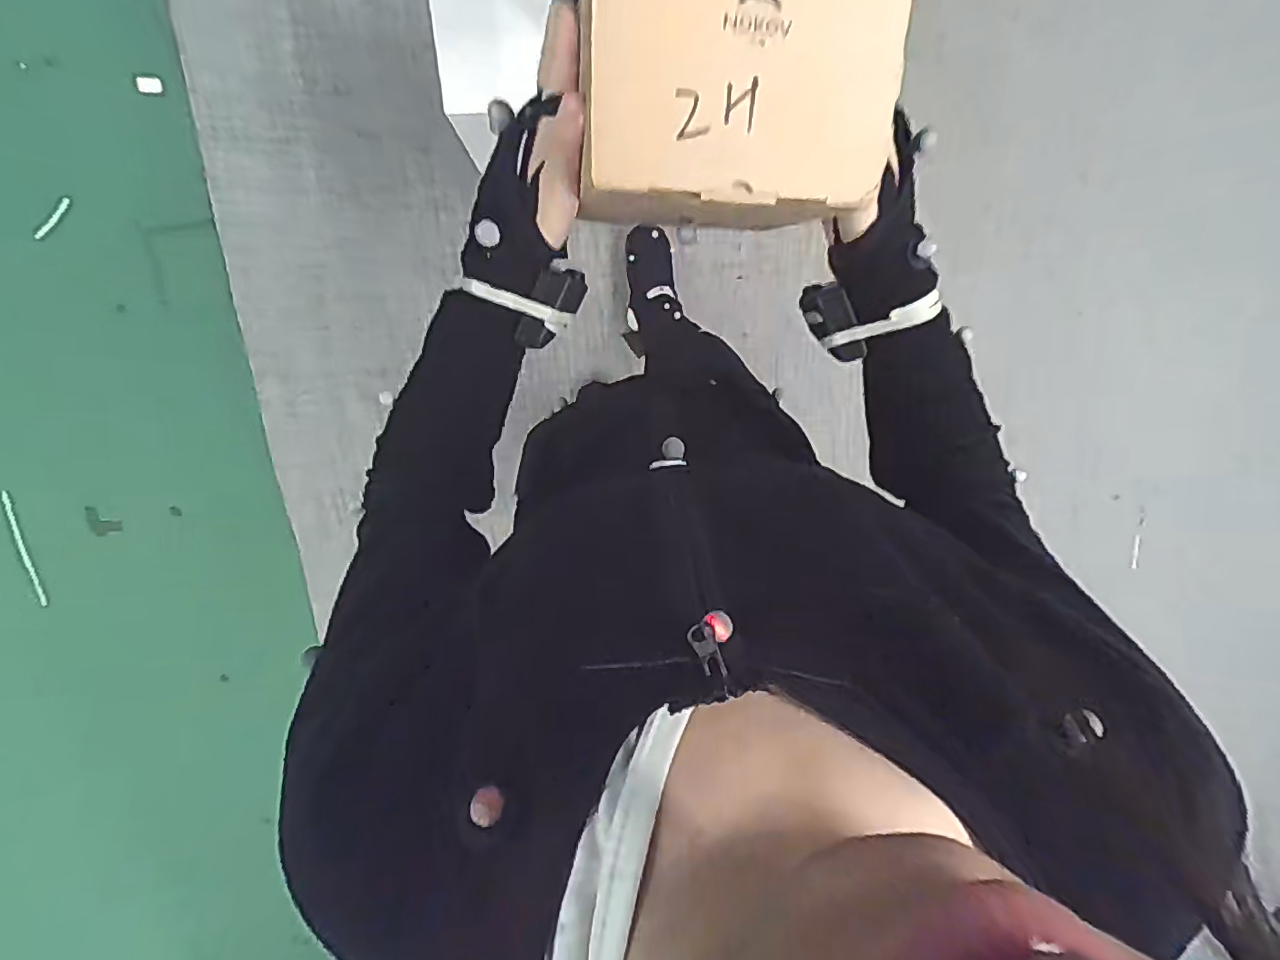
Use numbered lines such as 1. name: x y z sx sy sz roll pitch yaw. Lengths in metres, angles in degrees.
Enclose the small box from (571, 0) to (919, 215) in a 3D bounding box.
1. small box: 0.045 -0.272 0.330 0.168 0.176 0.179 -2 110 -10
